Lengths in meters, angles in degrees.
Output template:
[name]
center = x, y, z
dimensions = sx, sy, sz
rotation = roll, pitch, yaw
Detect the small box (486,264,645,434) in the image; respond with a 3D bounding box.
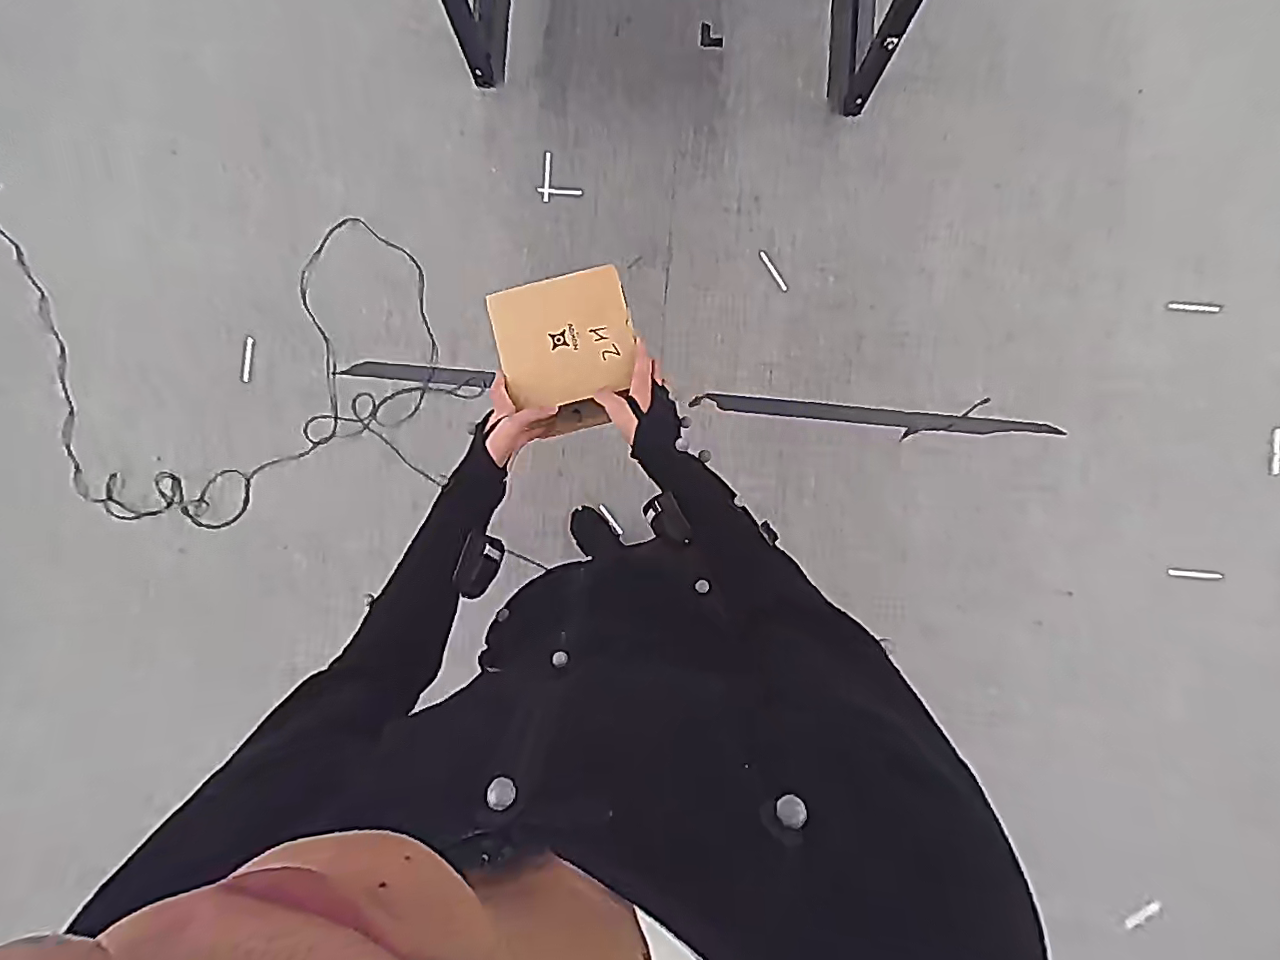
[small box]
center = -0.094, -0.170, 0.758
dimensions = 0.179, 0.176, 0.168
rotation = -13, 85, -1
